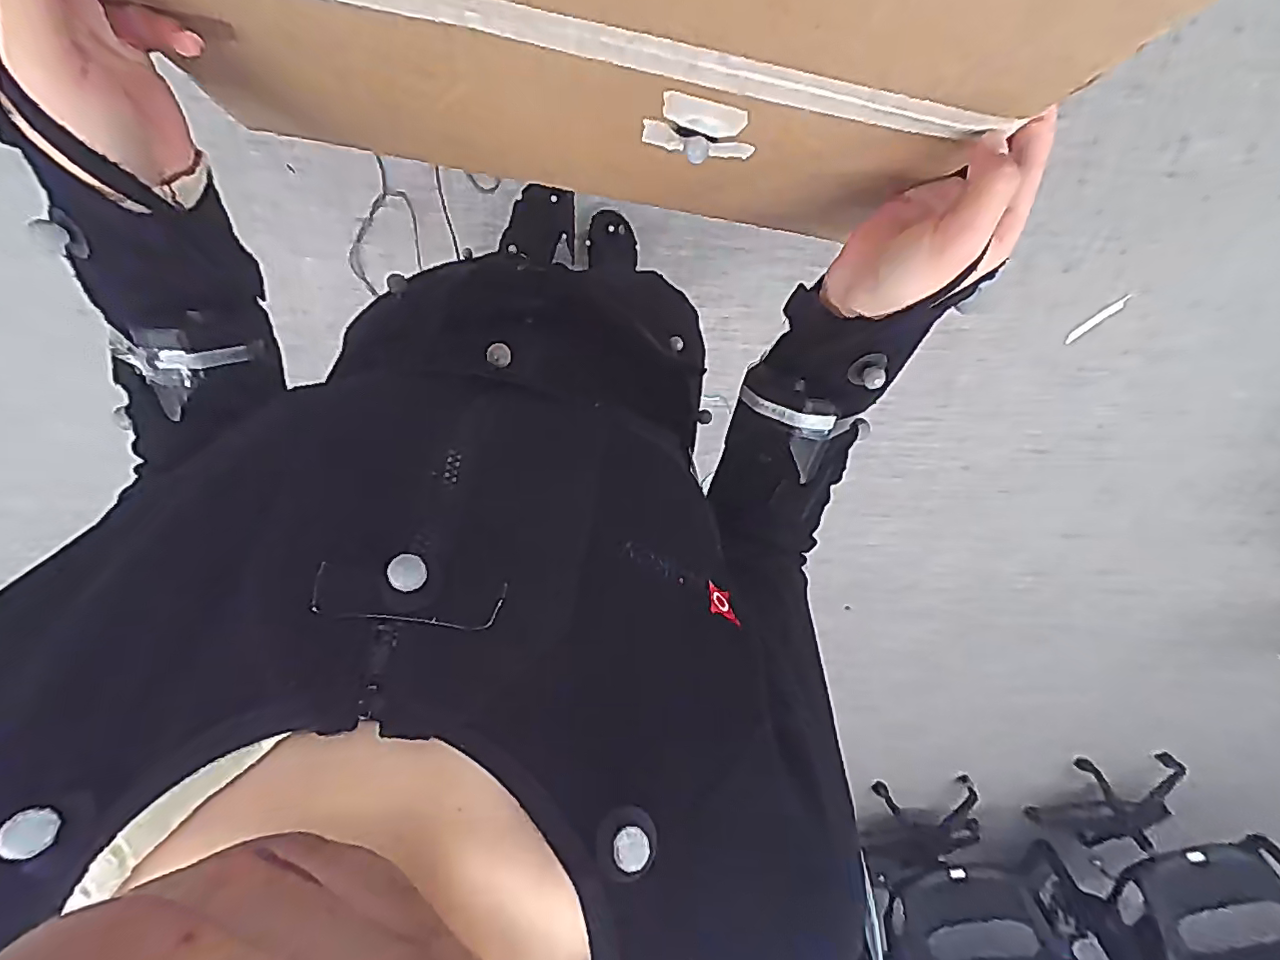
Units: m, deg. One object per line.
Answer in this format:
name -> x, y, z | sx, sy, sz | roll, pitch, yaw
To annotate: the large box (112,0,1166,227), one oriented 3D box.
large box -> -0.014, -0.337, 0.207 | 0.408, 0.320, 0.320 | 6, 96, -8
